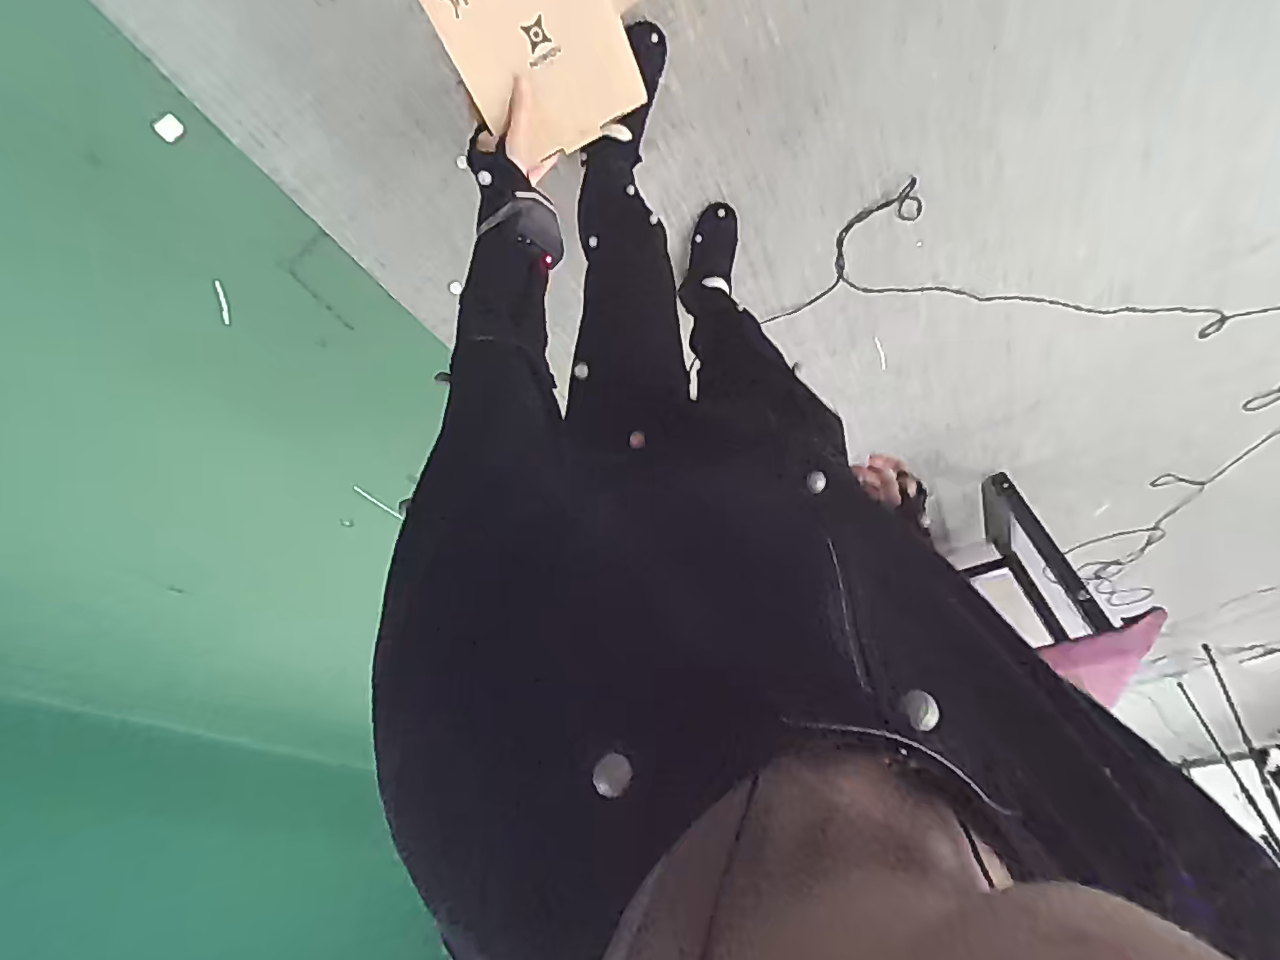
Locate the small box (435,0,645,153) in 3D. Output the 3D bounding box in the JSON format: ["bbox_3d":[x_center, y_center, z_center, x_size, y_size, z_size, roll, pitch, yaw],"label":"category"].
[{"bbox_3d":[-0.115,-0.488,0.576,0.168,0.176,0.179,-26,131,3],"label":"small box"}]
